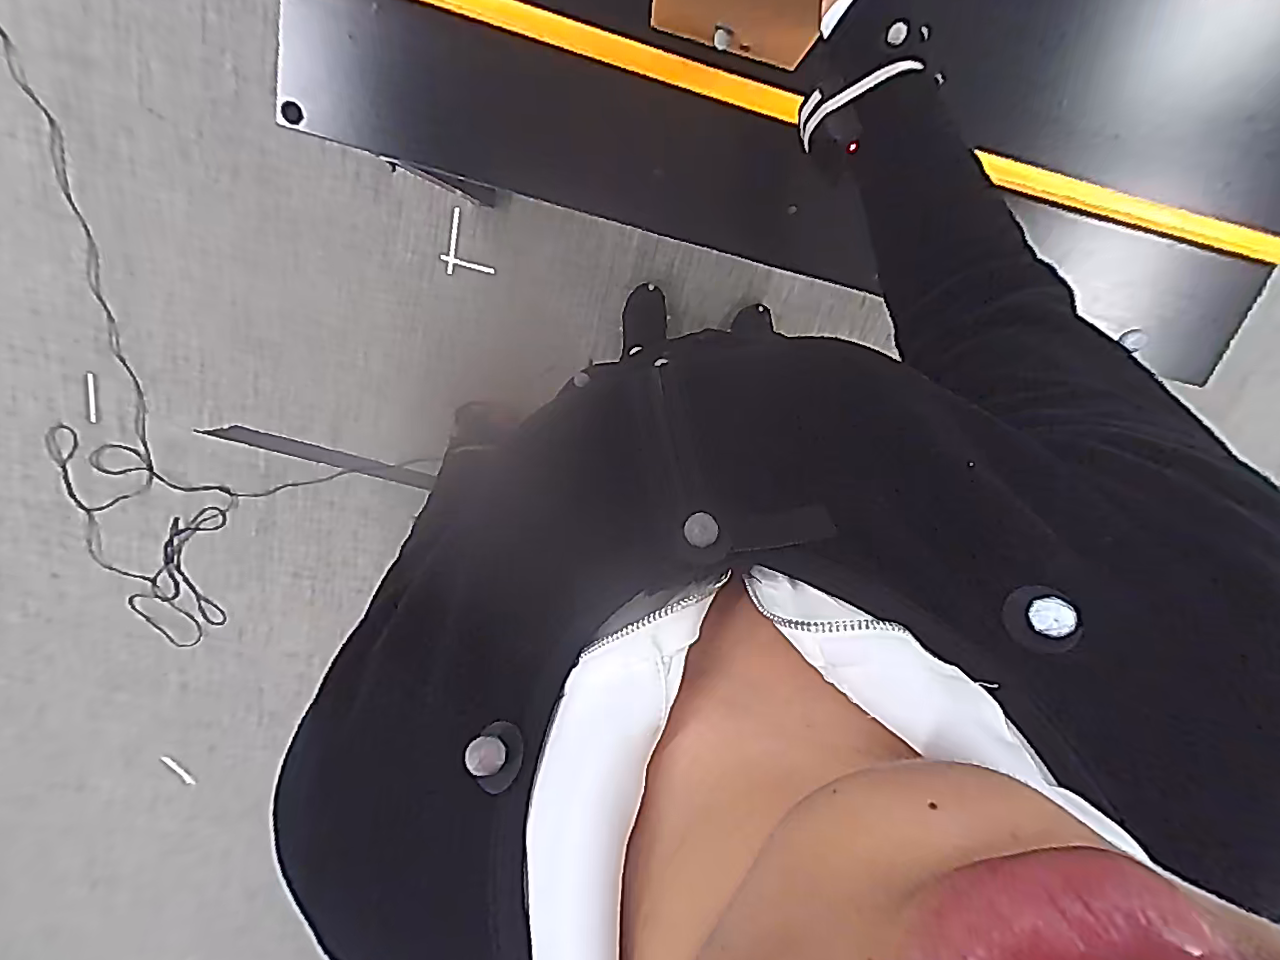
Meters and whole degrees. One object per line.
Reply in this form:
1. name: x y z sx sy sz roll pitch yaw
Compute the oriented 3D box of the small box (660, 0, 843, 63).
1. small box: 0.116 -0.530 0.491 0.168 0.176 0.179 14 110 -5
